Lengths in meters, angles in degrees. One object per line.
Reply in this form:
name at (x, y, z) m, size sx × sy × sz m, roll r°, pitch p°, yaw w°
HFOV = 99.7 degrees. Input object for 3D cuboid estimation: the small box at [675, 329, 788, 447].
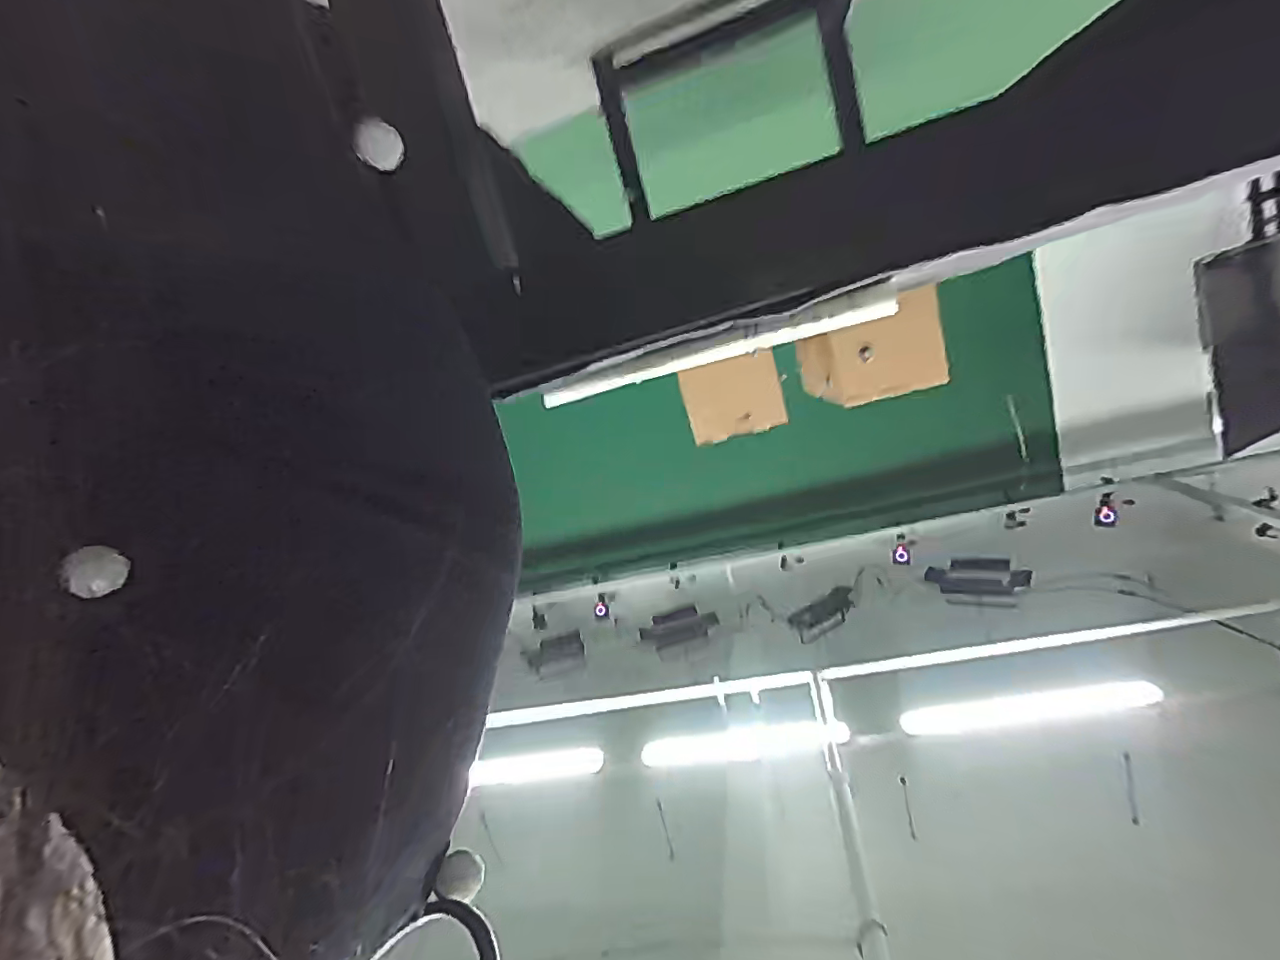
small box at (0.172, -0.177, 1.009) m, size 0.168 × 0.176 × 0.179 m, roll -14°, pitch -169°, yaw 16°
